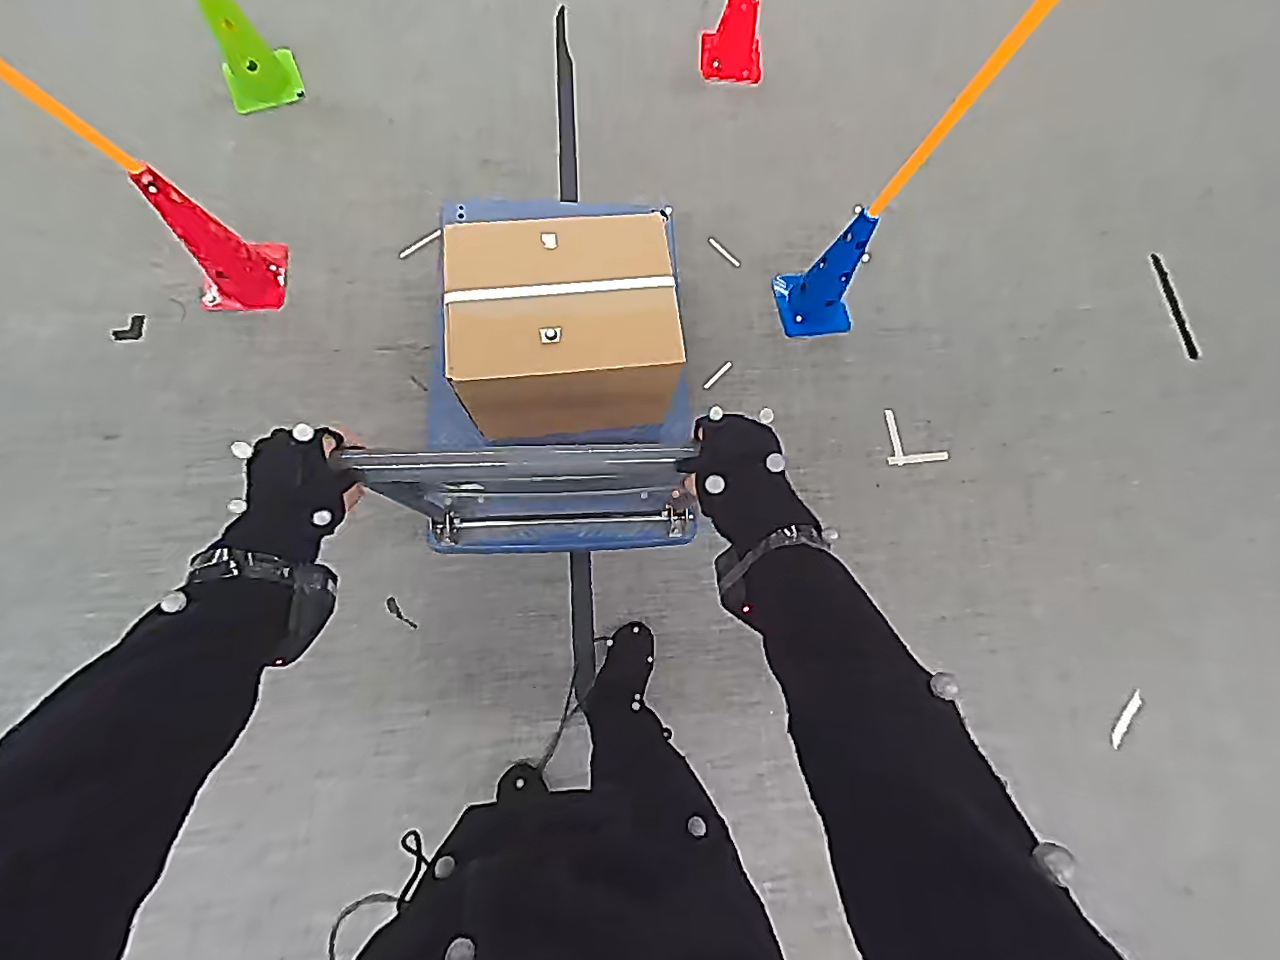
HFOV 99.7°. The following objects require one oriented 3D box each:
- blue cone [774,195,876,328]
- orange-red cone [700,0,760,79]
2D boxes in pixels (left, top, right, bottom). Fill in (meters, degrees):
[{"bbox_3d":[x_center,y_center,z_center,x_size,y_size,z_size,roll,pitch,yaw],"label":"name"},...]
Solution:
[{"bbox_3d":[0.505,-0.567,1.394,0.193,0.380,0.192,-7,75,-7],"label":"blue cone"},{"bbox_3d":[0.310,-1.434,1.594,0.199,0.360,0.198,4,75,-5],"label":"orange-red cone"}]
